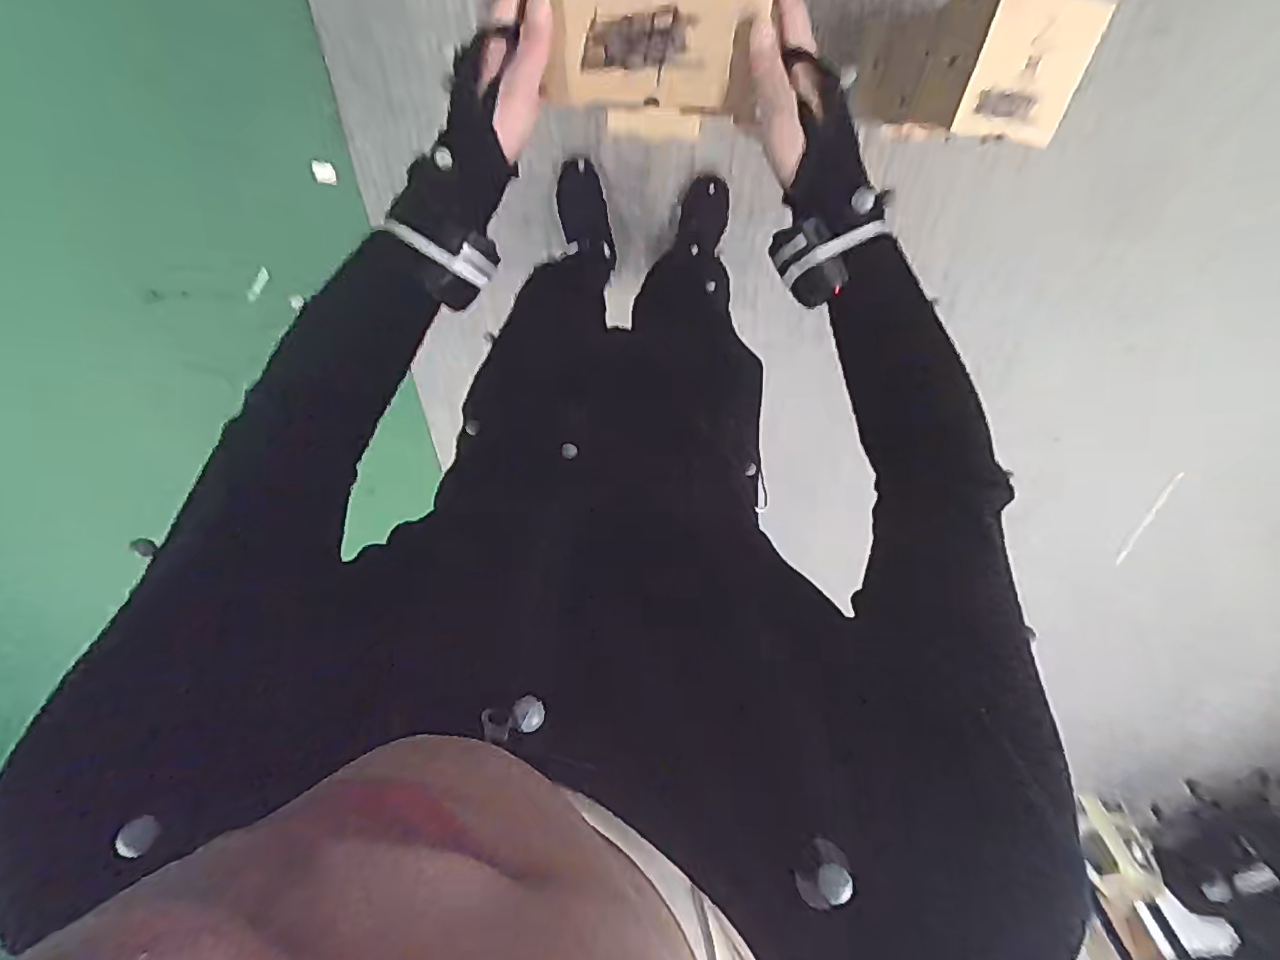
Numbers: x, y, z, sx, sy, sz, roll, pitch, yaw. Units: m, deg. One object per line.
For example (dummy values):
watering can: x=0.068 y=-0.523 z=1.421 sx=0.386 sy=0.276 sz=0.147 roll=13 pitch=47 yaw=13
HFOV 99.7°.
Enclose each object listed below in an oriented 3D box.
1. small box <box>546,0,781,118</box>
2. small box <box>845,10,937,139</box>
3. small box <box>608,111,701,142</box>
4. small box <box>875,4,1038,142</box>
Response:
small box: x=0.021 y=-0.402 z=0.413 sx=0.168 sy=0.176 sz=0.179 roll=3 pitch=135 yaw=0
small box: x=0.546 y=-0.828 z=1.111 sx=0.168 sy=0.176 sz=0.179 roll=10 pitch=128 yaw=-5
small box: x=0.031 y=-0.731 z=0.976 sx=0.168 sy=0.176 sz=0.179 roll=3 pitch=129 yaw=-3
small box: x=0.555 y=-0.733 z=0.982 sx=0.168 sy=0.176 sz=0.179 roll=4 pitch=128 yaw=-4
